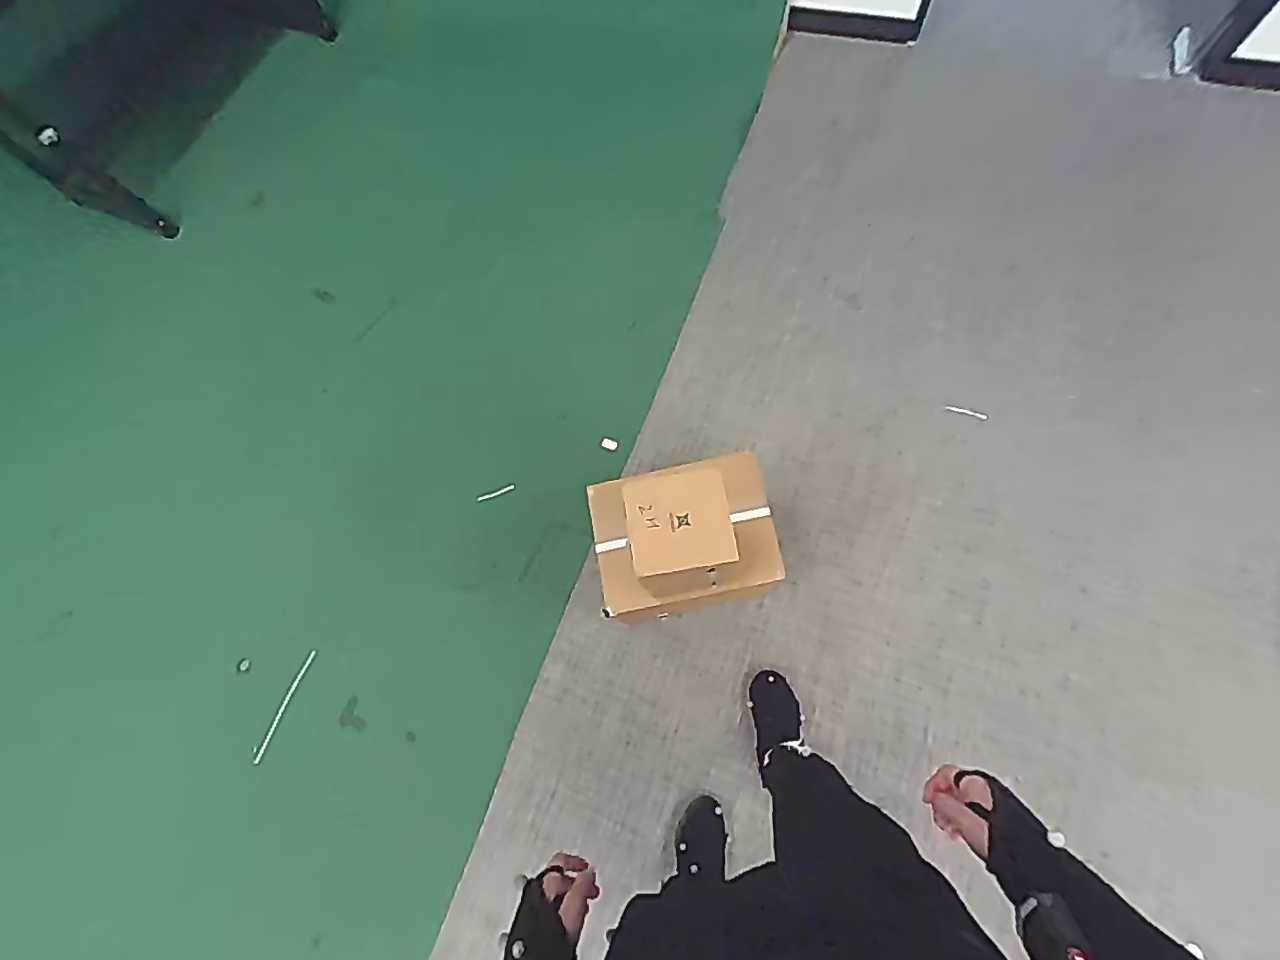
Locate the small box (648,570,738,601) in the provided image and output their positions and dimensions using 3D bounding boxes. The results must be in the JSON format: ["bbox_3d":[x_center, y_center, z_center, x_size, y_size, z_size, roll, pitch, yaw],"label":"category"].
[{"bbox_3d":[0.095,0.149,1.122,0.179,0.176,0.168,-12,71,3],"label":"small box"}]

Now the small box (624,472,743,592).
[{"bbox_3d":[0.076,0.099,0.966,0.179,0.176,0.168,-10,70,3],"label":"small box"}]
